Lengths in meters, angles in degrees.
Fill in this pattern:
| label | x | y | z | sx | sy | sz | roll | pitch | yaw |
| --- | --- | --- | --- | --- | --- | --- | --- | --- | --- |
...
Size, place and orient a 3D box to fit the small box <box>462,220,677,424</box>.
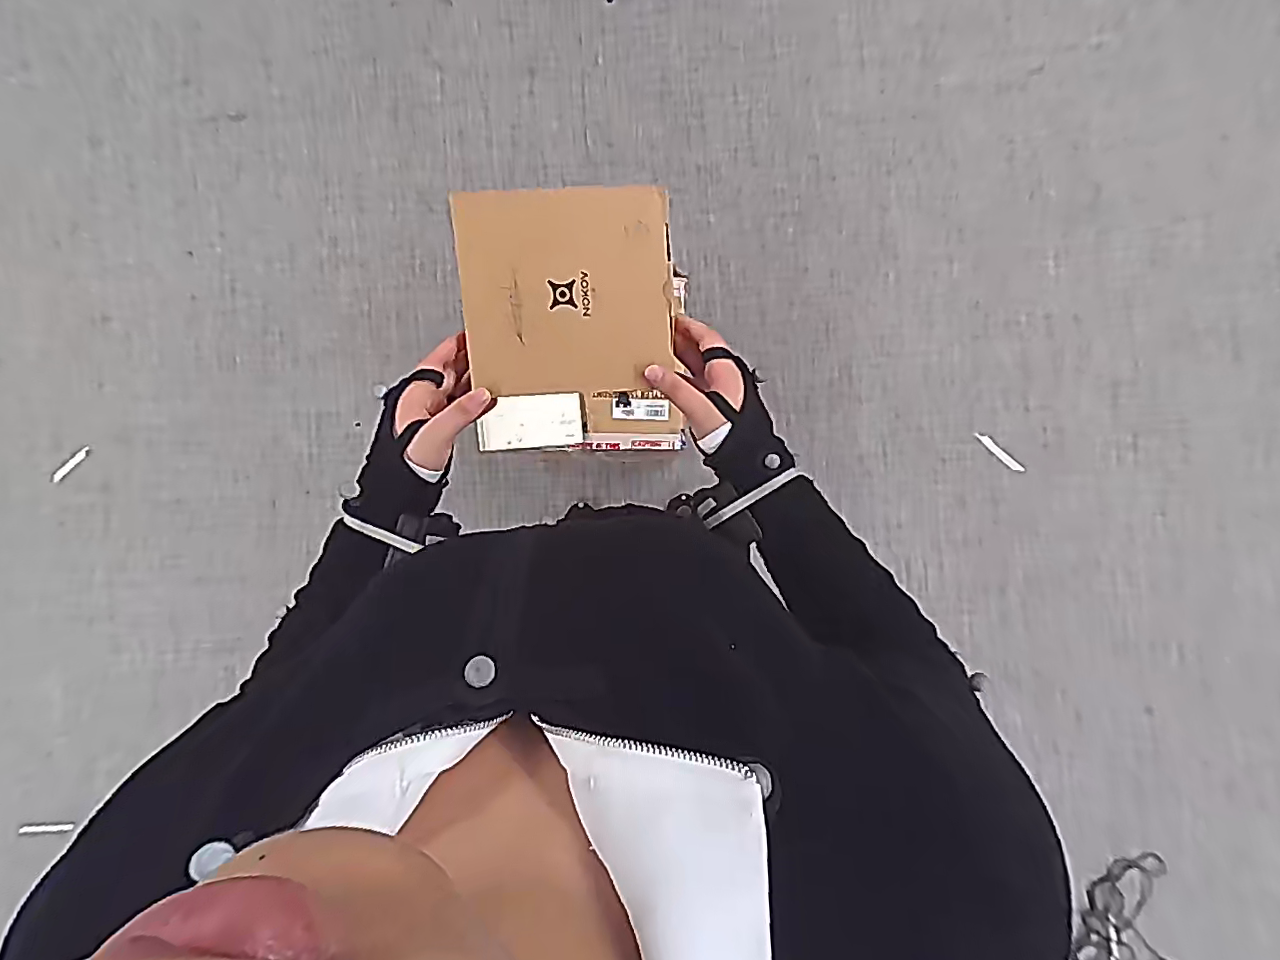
| label | x | y | z | sx | sy | sz | roll | pitch | yaw |
| --- | --- | --- | --- | --- | --- | --- | --- | --- | --- |
| small box | -0.063 | -0.150 | 0.545 | 0.179 | 0.176 | 0.168 | -4 | 101 | -2 |
